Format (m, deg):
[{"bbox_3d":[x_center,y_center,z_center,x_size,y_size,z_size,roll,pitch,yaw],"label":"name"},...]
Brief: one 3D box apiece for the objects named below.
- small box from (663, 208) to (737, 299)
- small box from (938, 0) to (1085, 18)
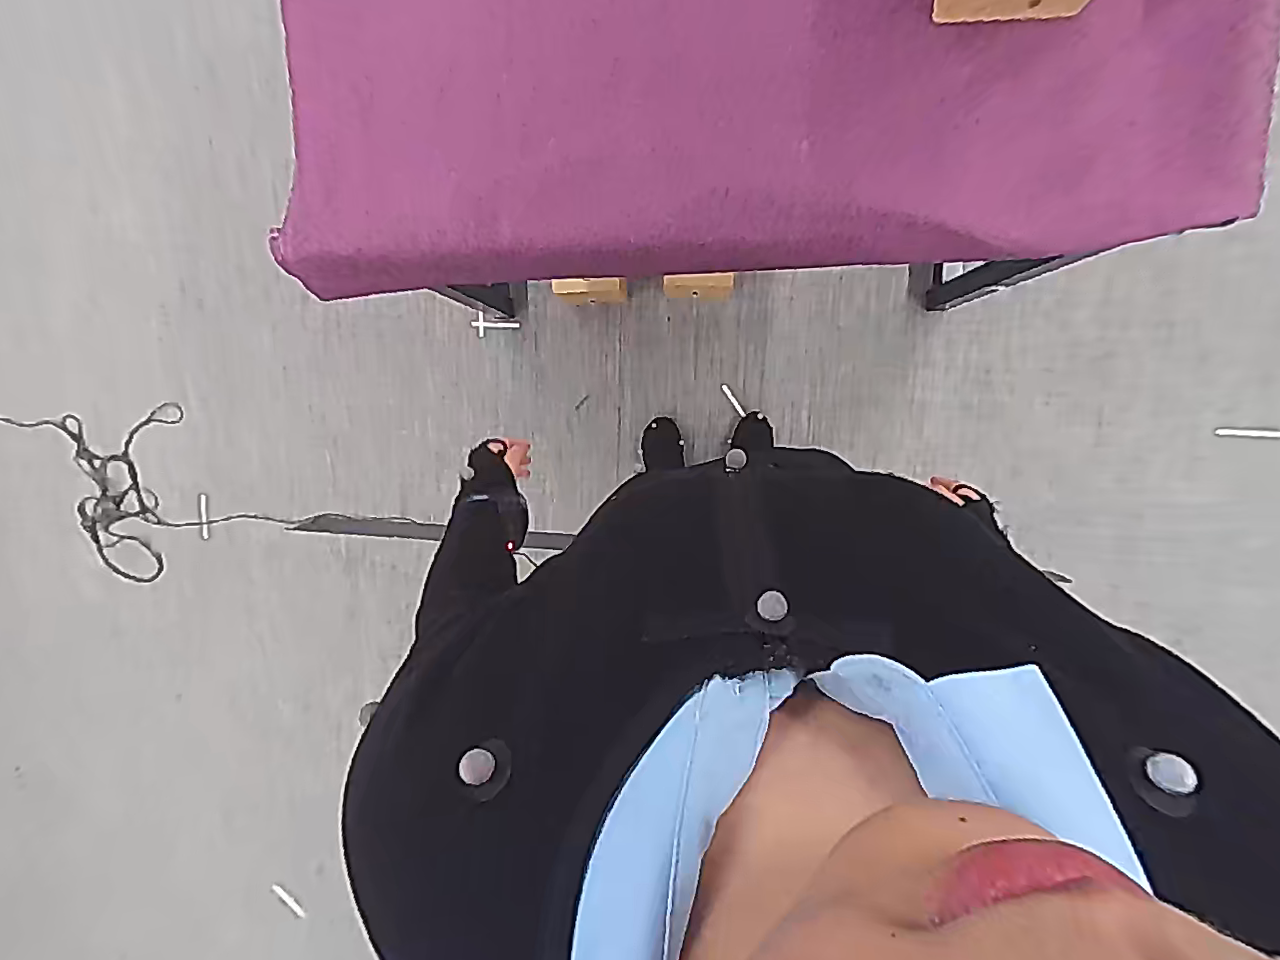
[{"bbox_3d":[0.147,-0.554,1.341,0.168,0.176,0.179,3,98,4],"label":"small box"},{"bbox_3d":[0.436,-0.631,0.569,0.168,0.176,0.179,2,97,6],"label":"small box"}]
